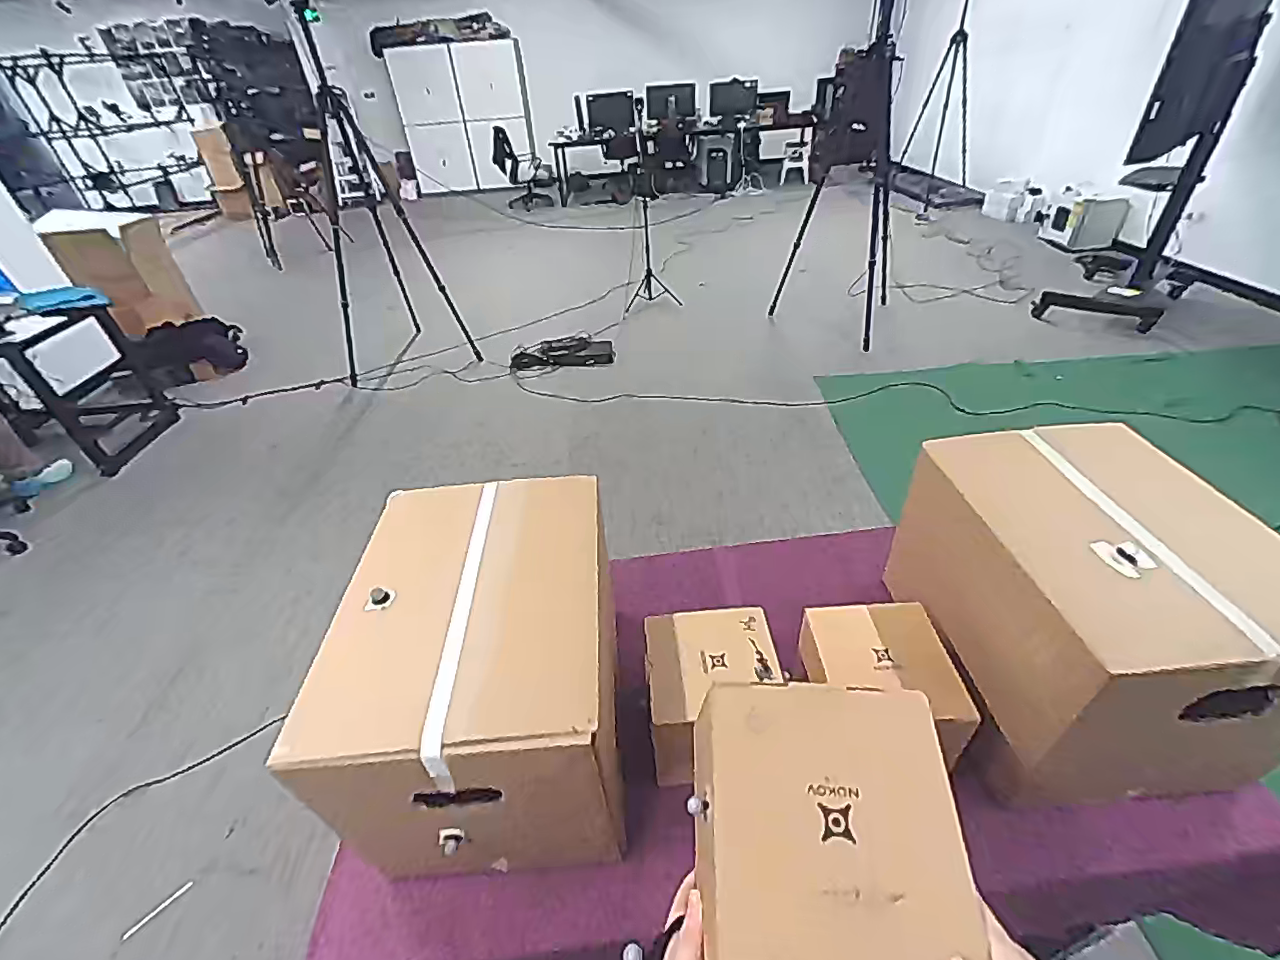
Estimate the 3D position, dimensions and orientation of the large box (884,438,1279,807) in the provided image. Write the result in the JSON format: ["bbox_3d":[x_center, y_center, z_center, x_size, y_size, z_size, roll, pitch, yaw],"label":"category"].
[{"bbox_3d":[0.608,0.182,0.771,0.320,0.320,0.408,-5,38,0],"label":"large box"}]
